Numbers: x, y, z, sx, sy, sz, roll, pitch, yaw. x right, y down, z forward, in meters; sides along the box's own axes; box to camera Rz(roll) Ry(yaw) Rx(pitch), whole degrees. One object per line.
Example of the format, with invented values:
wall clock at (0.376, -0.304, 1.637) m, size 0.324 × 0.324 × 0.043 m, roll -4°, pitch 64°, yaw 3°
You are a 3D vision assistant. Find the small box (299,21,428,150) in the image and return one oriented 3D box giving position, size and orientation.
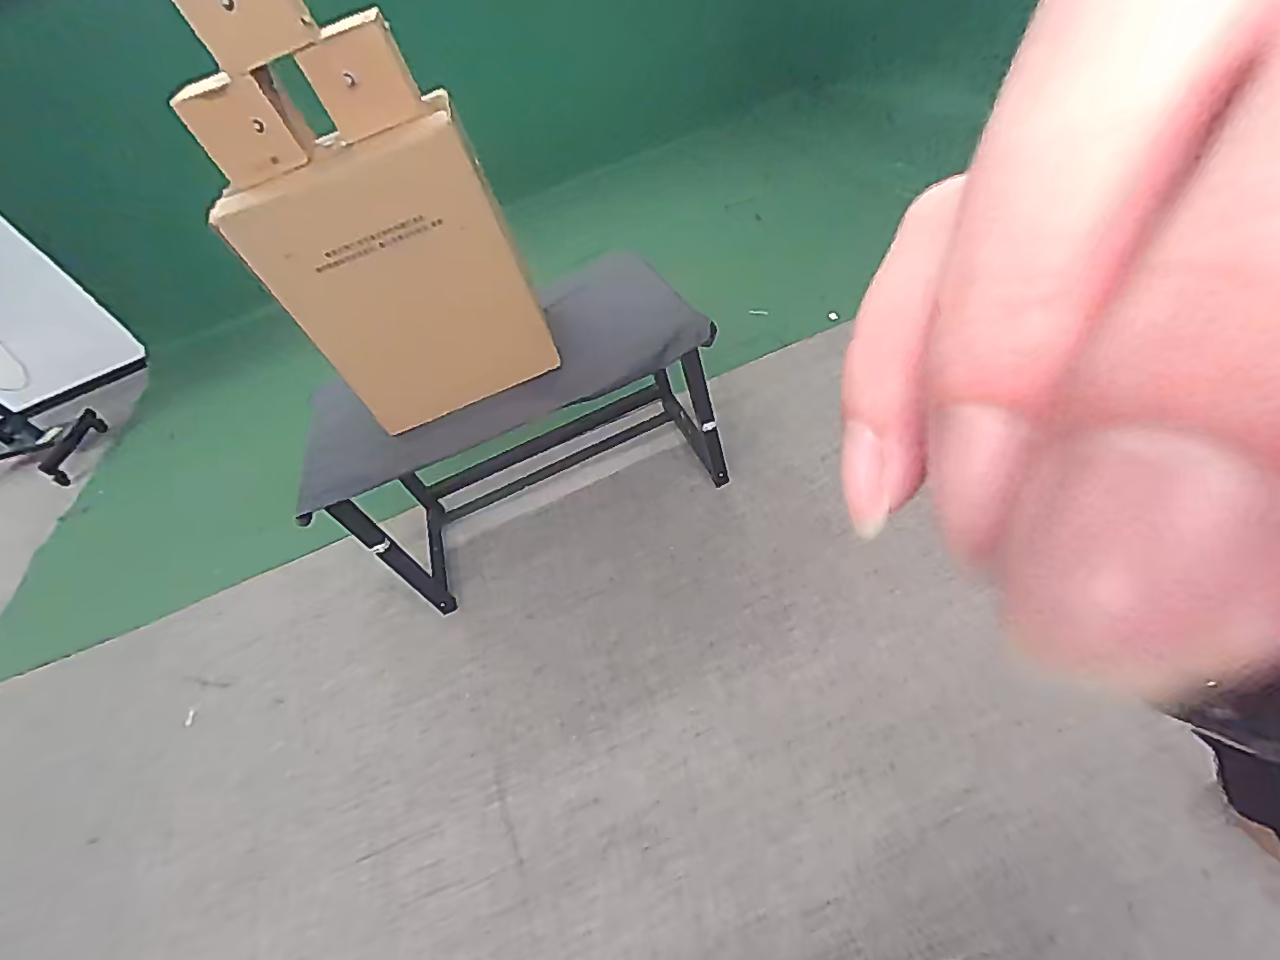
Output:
small box at (-0.579, -0.837, 1.154) m, size 0.179 × 0.176 × 0.168 m, roll -22°, pitch 48°, yaw 0°

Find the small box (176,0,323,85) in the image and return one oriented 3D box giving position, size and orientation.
small box at (-0.739, -0.890, 1.030) m, size 0.179 × 0.176 × 0.168 m, roll -24°, pitch 47°, yaw -1°

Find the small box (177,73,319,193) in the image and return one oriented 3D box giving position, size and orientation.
small box at (-0.816, -0.737, 1.148) m, size 0.168 × 0.176 × 0.179 m, roll -22°, pitch 46°, yaw -3°
